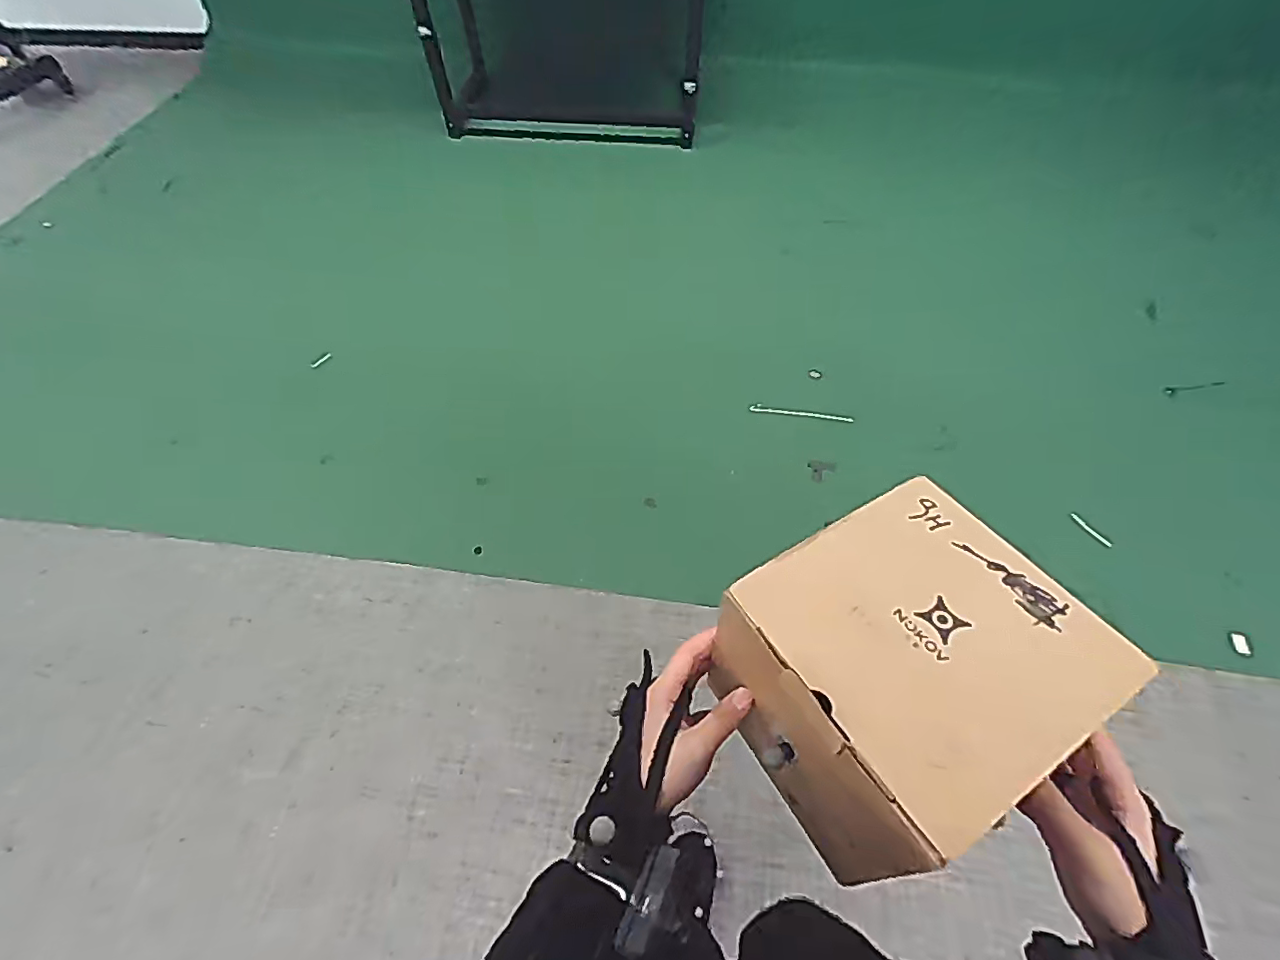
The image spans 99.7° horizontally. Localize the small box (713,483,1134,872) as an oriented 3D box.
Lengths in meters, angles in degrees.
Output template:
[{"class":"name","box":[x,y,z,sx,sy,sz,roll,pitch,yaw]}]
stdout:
[{"class":"small box","box":[0.165,0.140,0.381,0.179,0.176,0.168,-25,54,-17]}]
